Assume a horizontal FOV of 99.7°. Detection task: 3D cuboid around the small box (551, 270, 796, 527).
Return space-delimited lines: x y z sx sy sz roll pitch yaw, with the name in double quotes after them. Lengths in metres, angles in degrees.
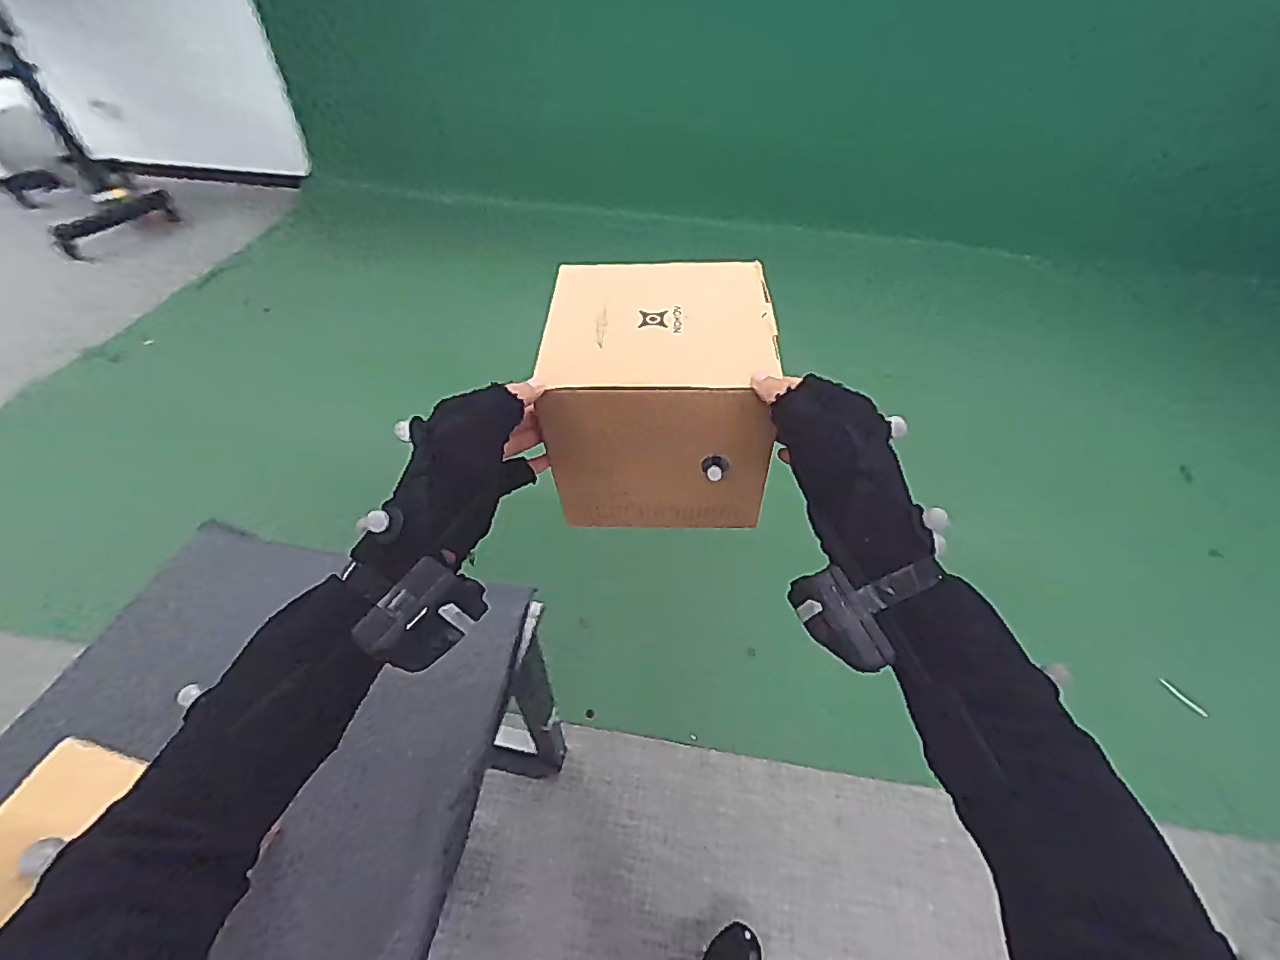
0.029 -0.069 0.490 0.179 0.176 0.168 1 49 3 "small box"
